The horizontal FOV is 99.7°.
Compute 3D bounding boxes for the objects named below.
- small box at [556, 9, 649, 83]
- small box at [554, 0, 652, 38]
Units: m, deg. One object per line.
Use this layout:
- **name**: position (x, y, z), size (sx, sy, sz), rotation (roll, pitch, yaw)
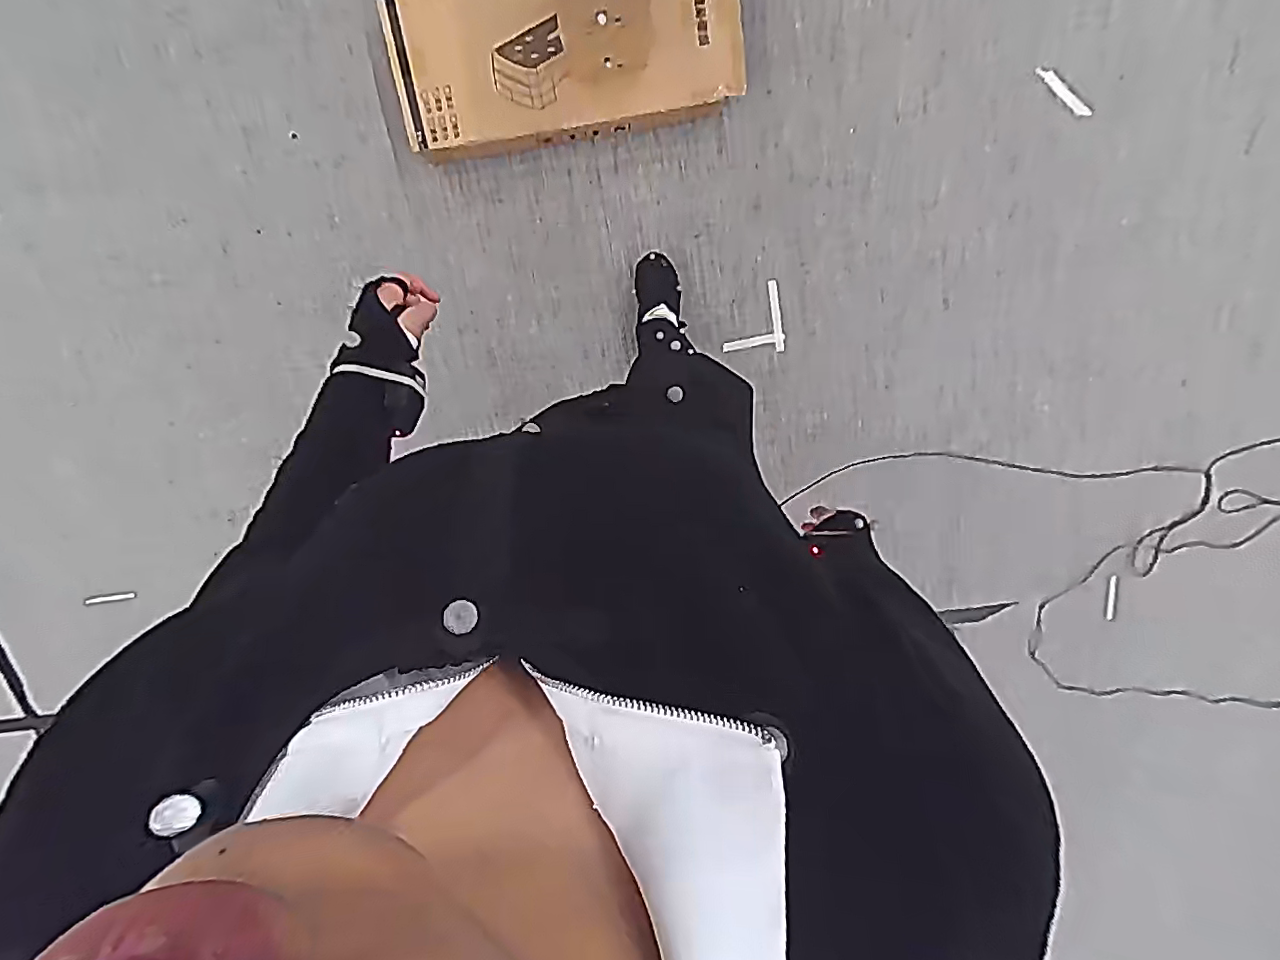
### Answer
- **small box**: position (-0.076, -0.915, 1.045), size (0.168, 0.176, 0.179), rotation (-9, 104, 3)
- **small box**: position (-0.069, -0.876, 0.885), size (0.168, 0.176, 0.179), rotation (-5, 105, 2)
